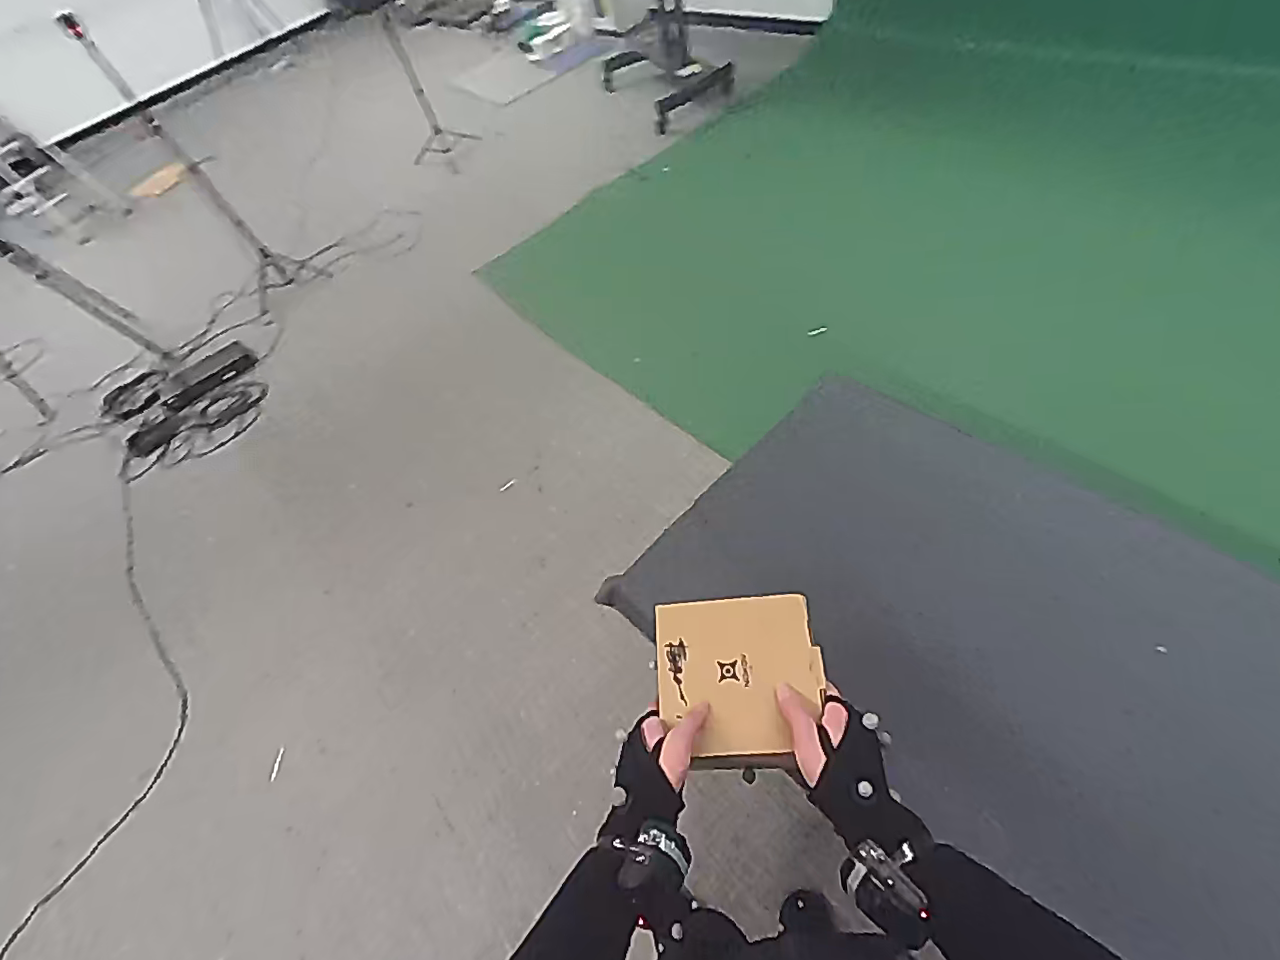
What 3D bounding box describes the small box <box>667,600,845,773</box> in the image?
[{"bbox_3d":[0.128,0.252,0.648,0.179,0.176,0.168,-5,57,7],"label":"small box"}]
